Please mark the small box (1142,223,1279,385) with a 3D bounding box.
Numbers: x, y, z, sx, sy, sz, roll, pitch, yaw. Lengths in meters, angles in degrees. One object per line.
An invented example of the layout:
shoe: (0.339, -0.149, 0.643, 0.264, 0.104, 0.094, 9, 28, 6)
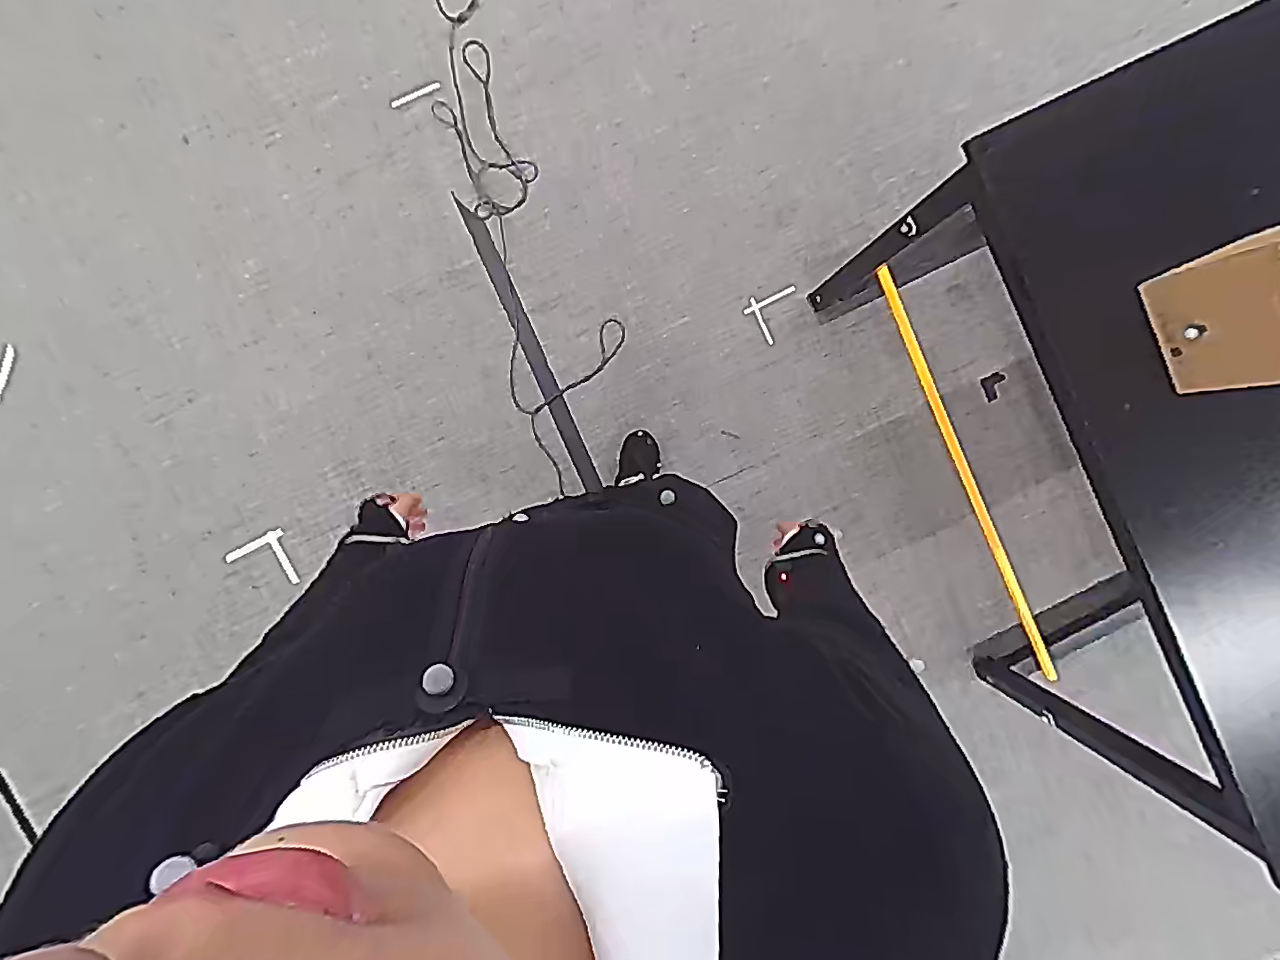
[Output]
small box: (0.807, -0.232, 0.678, 0.179, 0.176, 0.168, -24, 93, 0)
